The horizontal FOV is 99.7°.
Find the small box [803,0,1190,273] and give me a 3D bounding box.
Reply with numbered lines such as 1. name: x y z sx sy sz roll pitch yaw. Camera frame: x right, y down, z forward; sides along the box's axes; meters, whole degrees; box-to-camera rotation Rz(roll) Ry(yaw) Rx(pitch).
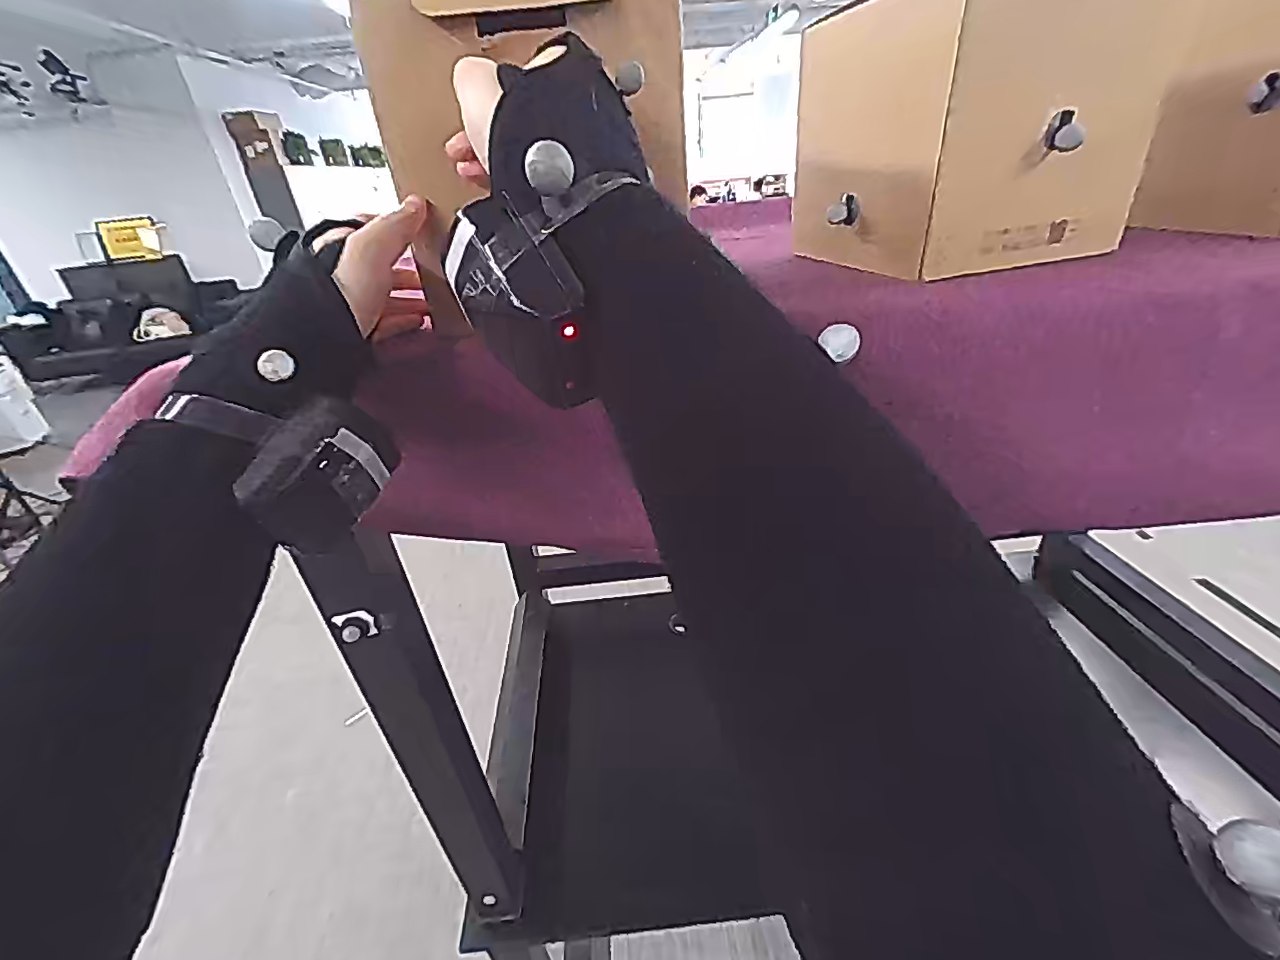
1. small box: 0.237 -0.257 0.400 0.168 0.176 0.179 -12 30 -10

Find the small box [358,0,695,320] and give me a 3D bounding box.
1. small box: -0.059 -0.213 0.374 0.168 0.176 0.179 -8 29 -5
